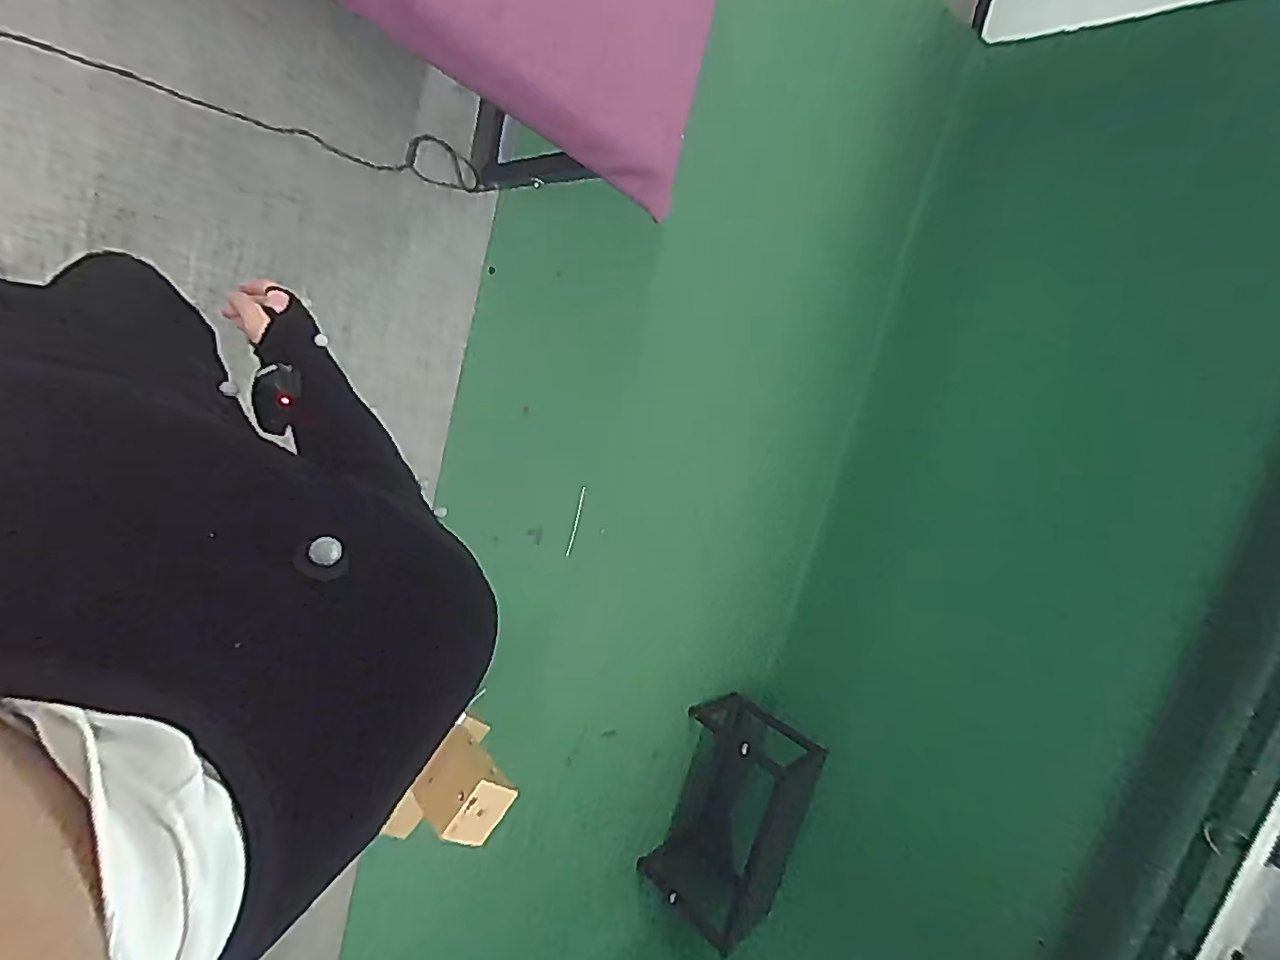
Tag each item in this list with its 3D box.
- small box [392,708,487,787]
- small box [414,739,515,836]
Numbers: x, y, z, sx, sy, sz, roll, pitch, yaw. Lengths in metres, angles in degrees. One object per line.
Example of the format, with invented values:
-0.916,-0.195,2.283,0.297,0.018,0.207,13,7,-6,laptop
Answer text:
-0.611,0.827,1.649,0.168,0.176,0.179,-52,137,-18,small box
-0.499,0.869,1.535,0.168,0.176,0.179,-52,138,-17,small box
